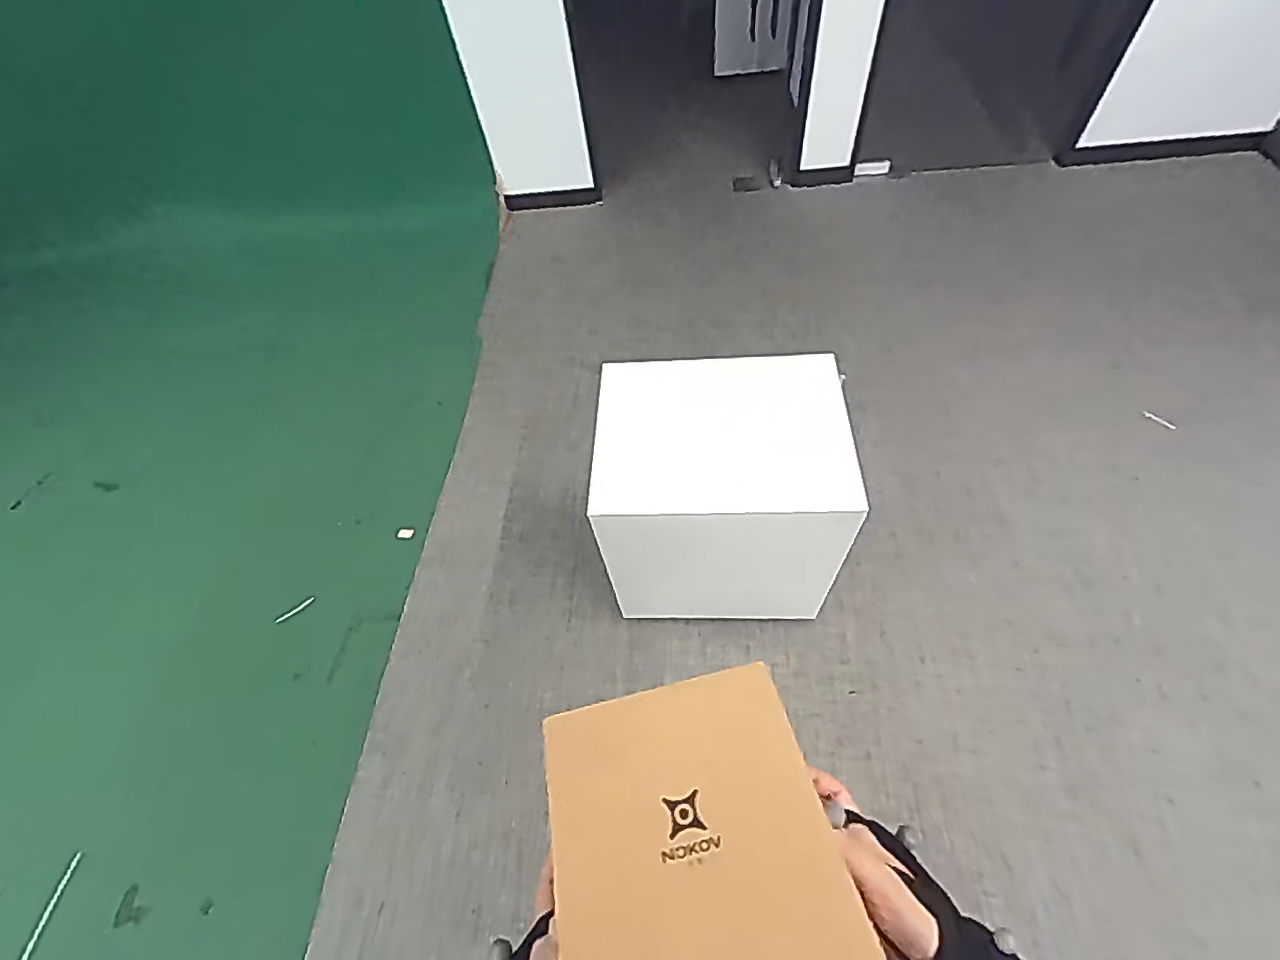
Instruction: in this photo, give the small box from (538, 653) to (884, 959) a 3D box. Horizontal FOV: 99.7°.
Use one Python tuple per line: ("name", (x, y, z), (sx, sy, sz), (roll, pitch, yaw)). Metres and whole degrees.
("small box", (0.033, 0.254, 0.368), (0.168, 0.176, 0.179), (-14, 41, -3))
